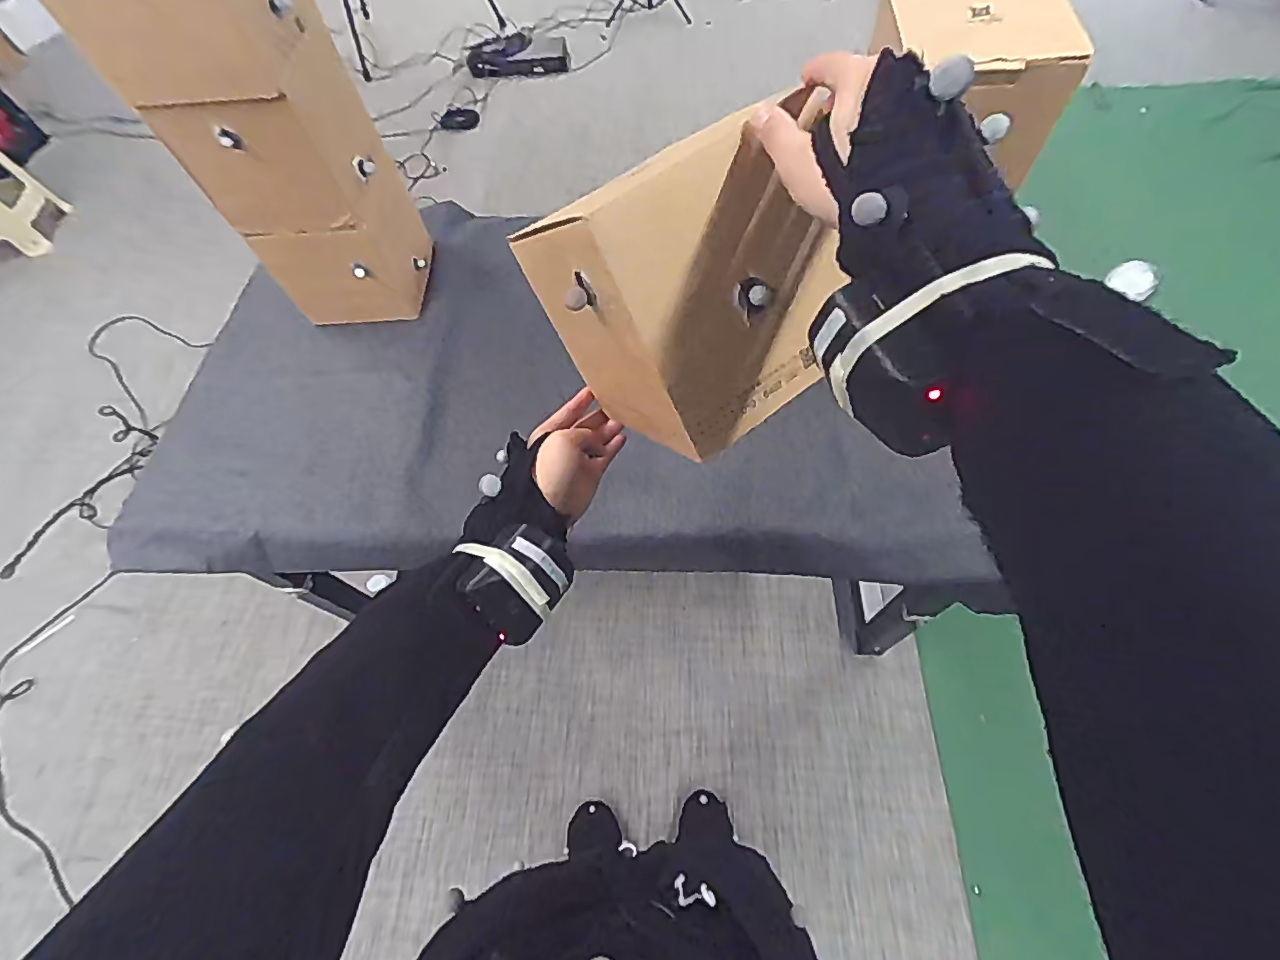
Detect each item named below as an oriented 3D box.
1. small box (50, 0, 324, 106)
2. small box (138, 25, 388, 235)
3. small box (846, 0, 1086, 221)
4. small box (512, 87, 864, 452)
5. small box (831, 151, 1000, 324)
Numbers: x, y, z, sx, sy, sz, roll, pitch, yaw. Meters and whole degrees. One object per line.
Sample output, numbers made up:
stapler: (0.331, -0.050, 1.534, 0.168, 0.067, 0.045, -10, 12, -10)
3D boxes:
small box: (-0.464, -0.505, 0.540, 0.179, 0.176, 0.168, -1, 63, 3)
small box: (-0.456, -0.435, 0.689, 0.179, 0.176, 0.168, -3, 63, 2)
small box: (0.341, -0.416, 0.608, 0.168, 0.176, 0.179, 2, 63, 6)
small box: (0.035, -0.142, 0.405, 0.168, 0.176, 0.179, -35, 29, -12)
small box: (0.358, -0.343, 0.754, 0.168, 0.176, 0.179, 2, 63, 6)
